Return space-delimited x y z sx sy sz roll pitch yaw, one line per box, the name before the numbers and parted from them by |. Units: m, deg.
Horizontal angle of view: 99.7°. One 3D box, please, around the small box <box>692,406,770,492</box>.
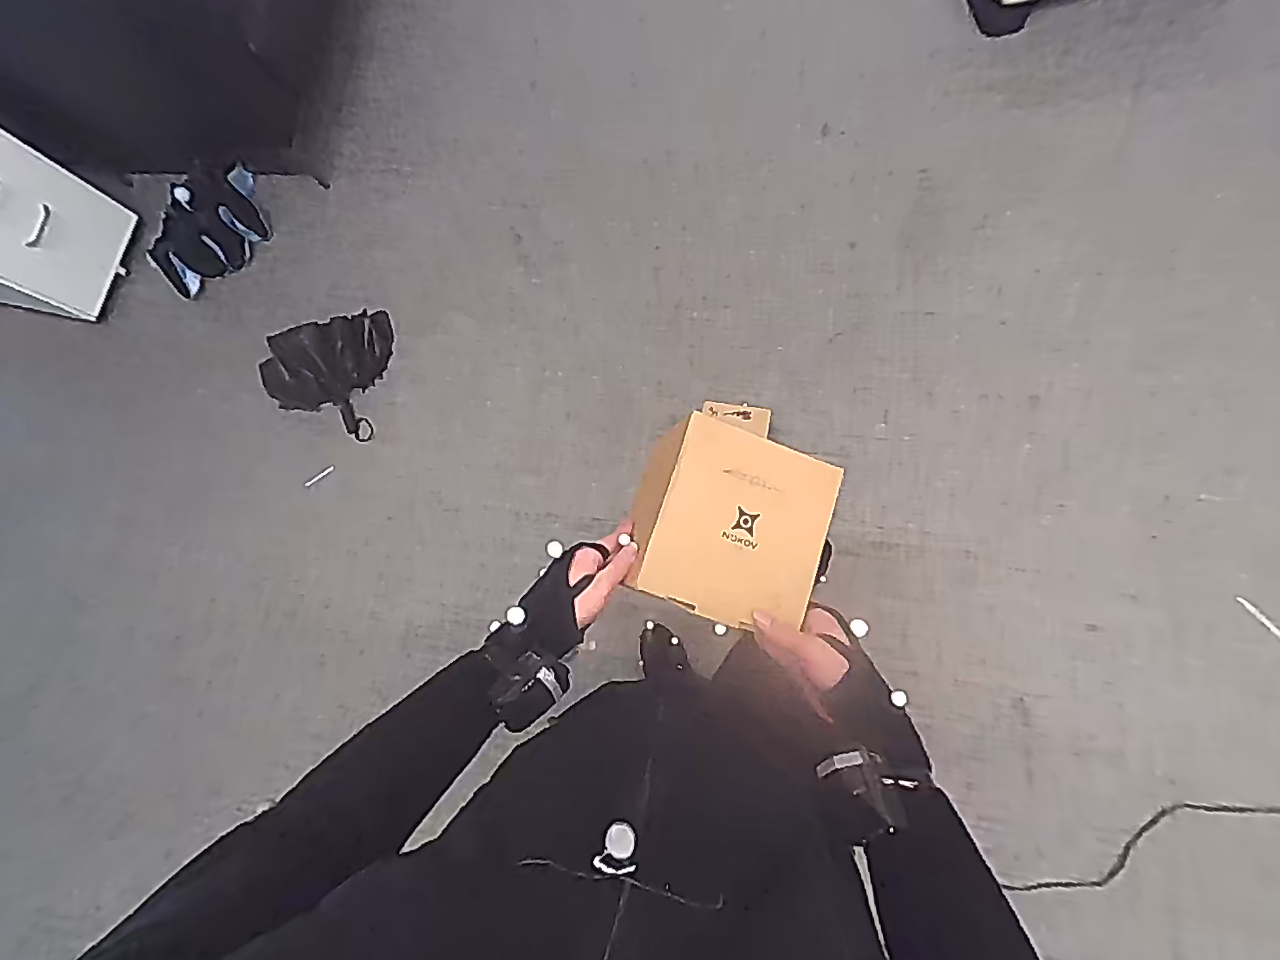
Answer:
small box | 0.232 -0.074 1.379 0.168 0.176 0.179 9 81 11
